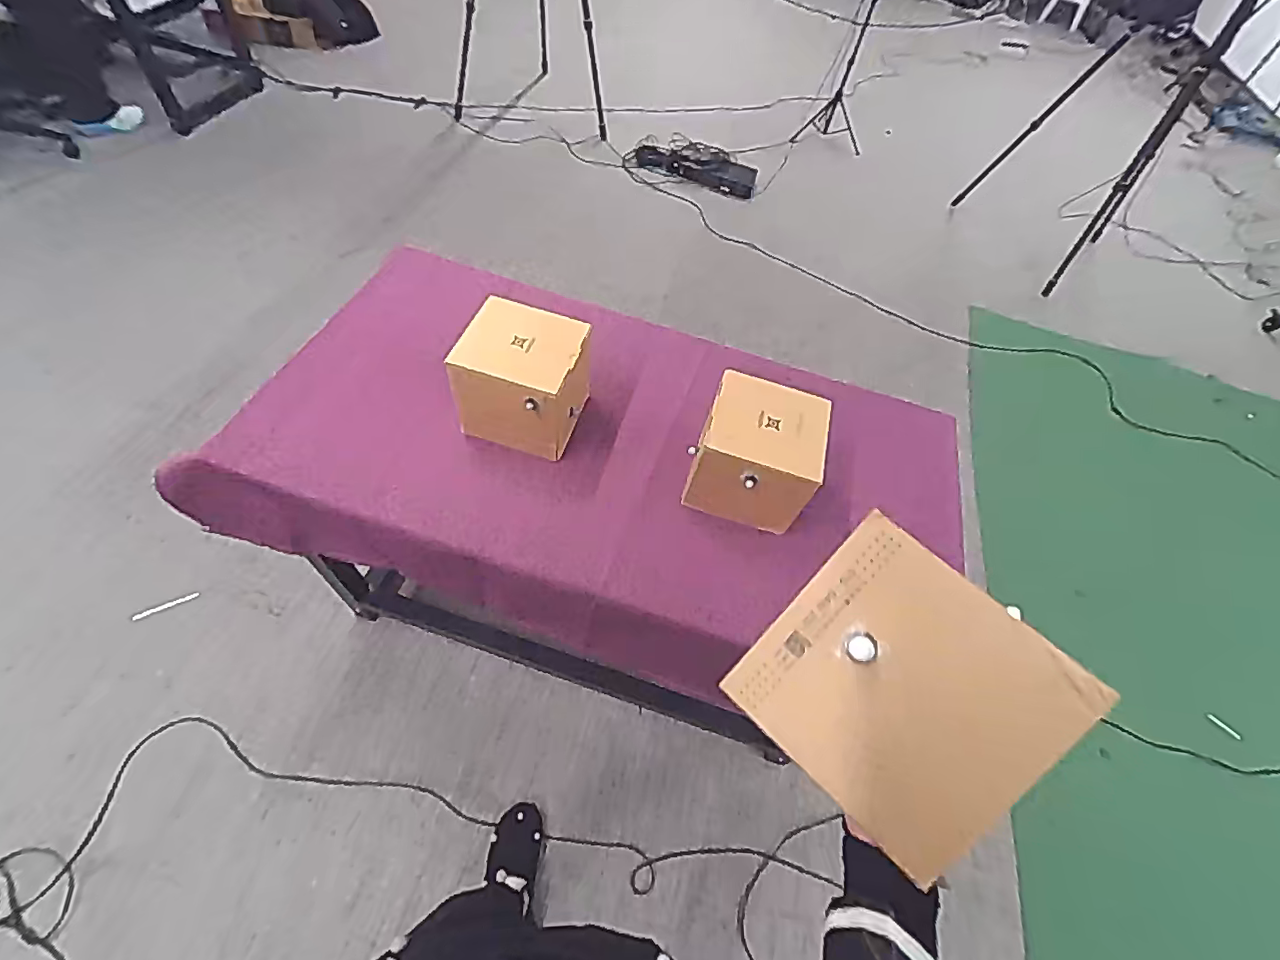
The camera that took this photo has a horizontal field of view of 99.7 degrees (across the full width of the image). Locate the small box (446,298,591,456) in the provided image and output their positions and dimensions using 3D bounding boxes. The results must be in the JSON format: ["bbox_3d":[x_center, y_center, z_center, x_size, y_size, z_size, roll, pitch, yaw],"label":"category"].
[{"bbox_3d":[-0.192,-0.164,0.893,0.179,0.176,0.168,17,55,1],"label":"small box"}]

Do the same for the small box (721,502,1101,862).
[{"bbox_3d":[0.189,0.134,0.428,0.176,0.179,0.168,41,97,21],"label":"small box"}]

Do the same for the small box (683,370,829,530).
[{"bbox_3d":[0.180,-0.042,0.868,0.179,0.176,0.168,18,56,3],"label":"small box"}]
